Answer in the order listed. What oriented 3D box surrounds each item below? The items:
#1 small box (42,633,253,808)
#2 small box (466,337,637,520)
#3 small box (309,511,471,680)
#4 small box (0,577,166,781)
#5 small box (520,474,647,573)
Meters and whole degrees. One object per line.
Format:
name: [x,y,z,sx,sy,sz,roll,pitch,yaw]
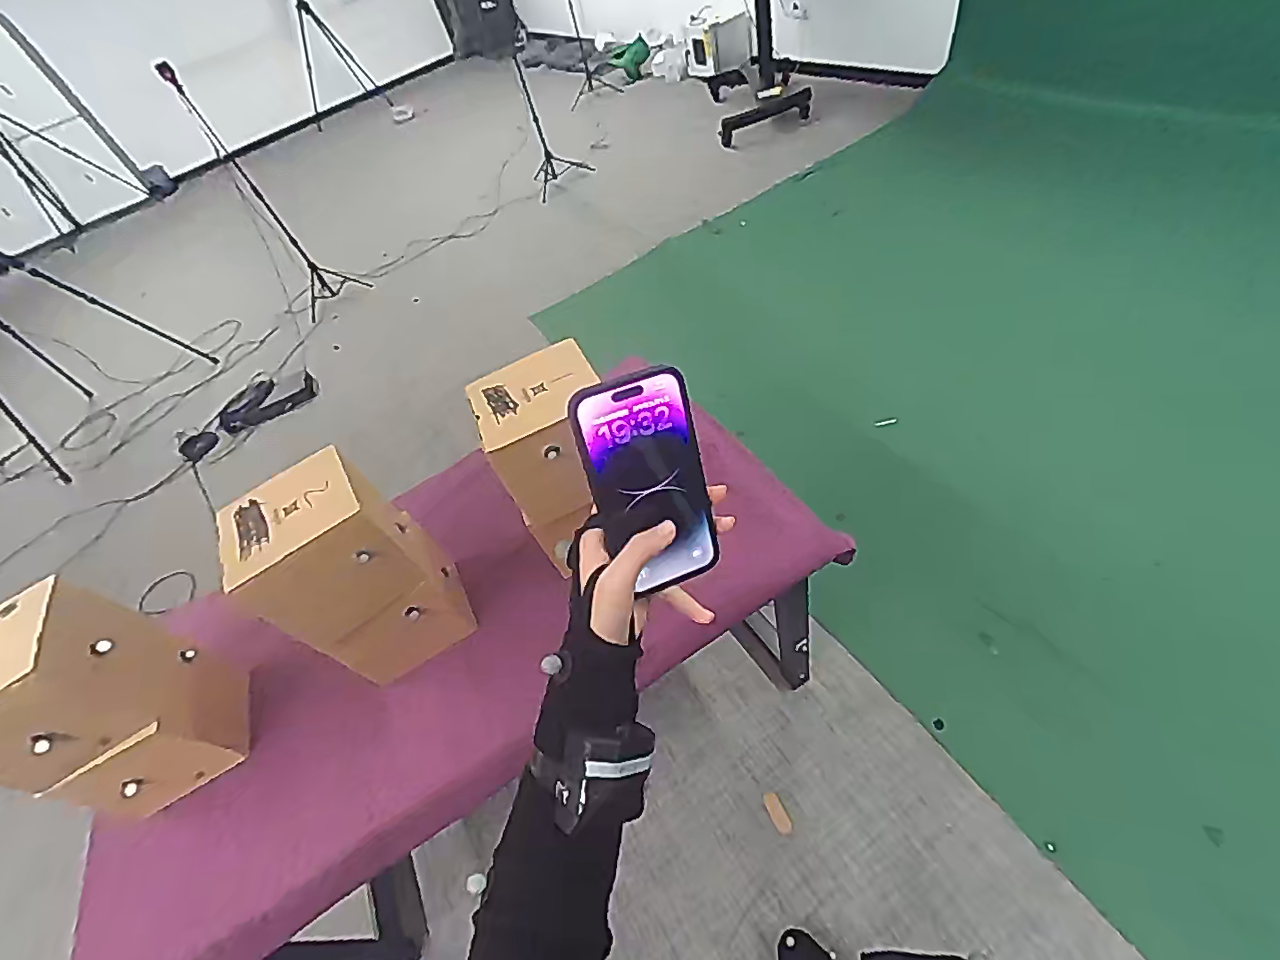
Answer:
small box: [-0.737,0.377,0.836,0.168,0.176,0.179,-30,48,-8]
small box: [-0.126,-0.071,0.791,0.179,0.176,0.168,-26,48,-5]
small box: [-0.396,0.190,0.879,0.179,0.176,0.168,-31,49,-8]
small box: [-0.781,0.269,0.719,0.168,0.176,0.179,-34,50,-12]
small box: [-0.100,0.026,0.921,0.179,0.176,0.168,-27,48,-4]
